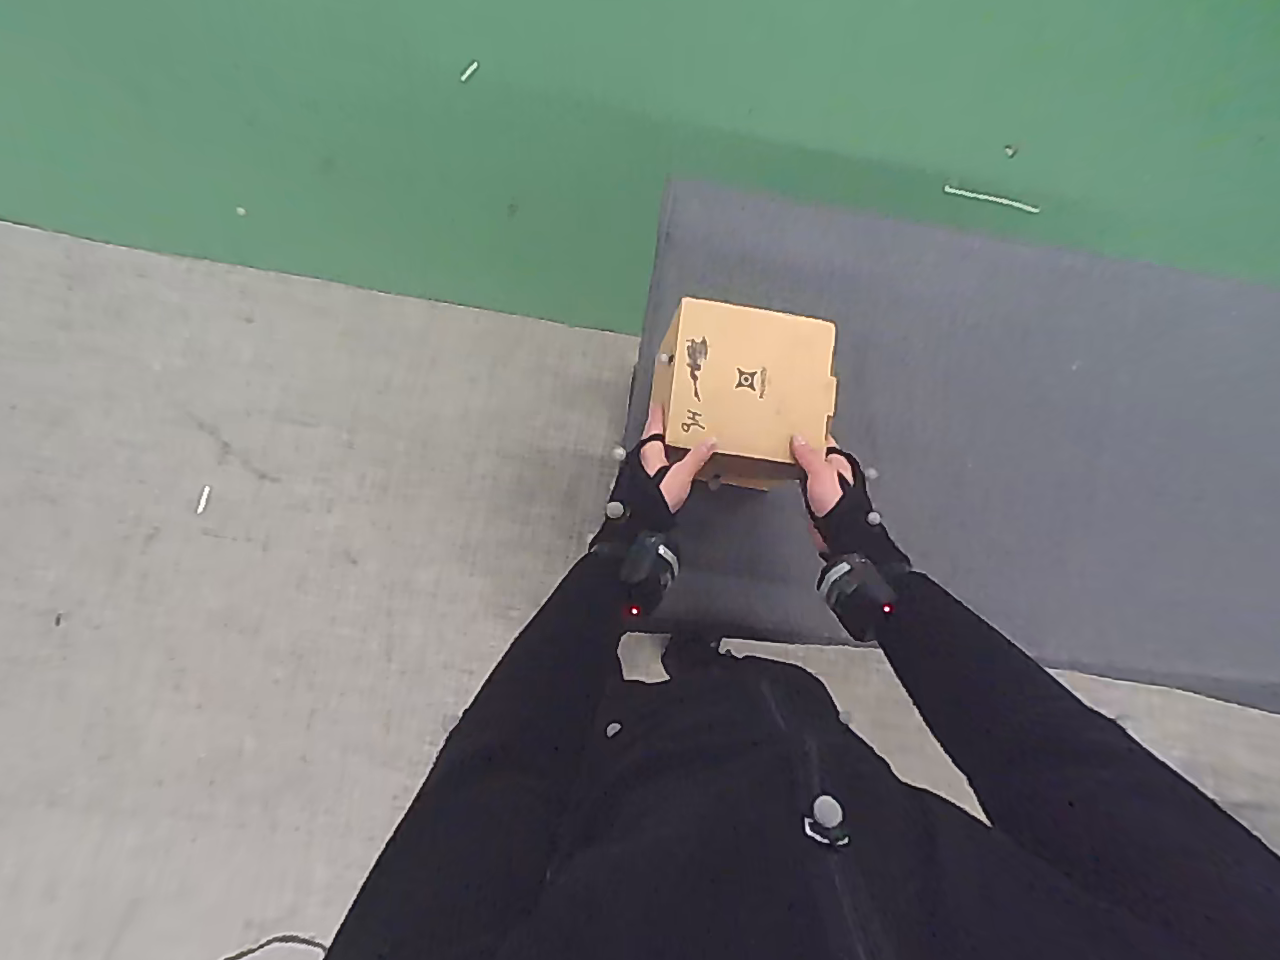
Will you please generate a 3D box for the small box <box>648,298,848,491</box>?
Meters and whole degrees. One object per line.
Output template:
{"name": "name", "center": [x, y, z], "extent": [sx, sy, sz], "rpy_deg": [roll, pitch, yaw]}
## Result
{"name": "small box", "center": [0.119, -0.087, 0.644], "extent": [0.179, 0.176, 0.168], "rpy_deg": [10, 79, -8]}
